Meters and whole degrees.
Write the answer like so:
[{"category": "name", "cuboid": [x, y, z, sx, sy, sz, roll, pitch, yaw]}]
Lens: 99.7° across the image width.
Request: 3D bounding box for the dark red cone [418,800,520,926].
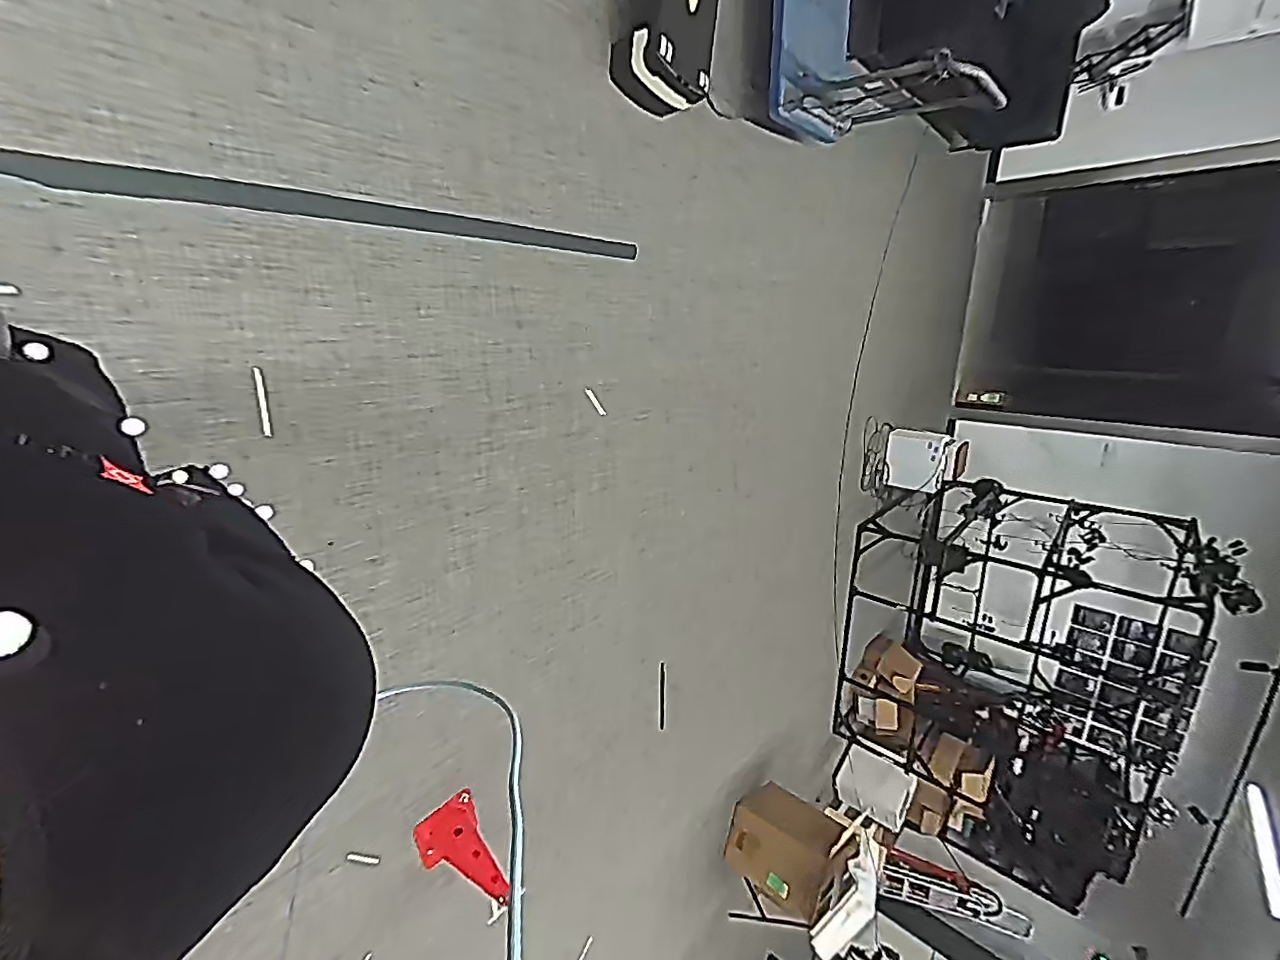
[{"category": "dark red cone", "cuboid": [-0.497, 1.204, 1.658, 0.201, 0.394, 0.202, -25, 119, -42]}]
